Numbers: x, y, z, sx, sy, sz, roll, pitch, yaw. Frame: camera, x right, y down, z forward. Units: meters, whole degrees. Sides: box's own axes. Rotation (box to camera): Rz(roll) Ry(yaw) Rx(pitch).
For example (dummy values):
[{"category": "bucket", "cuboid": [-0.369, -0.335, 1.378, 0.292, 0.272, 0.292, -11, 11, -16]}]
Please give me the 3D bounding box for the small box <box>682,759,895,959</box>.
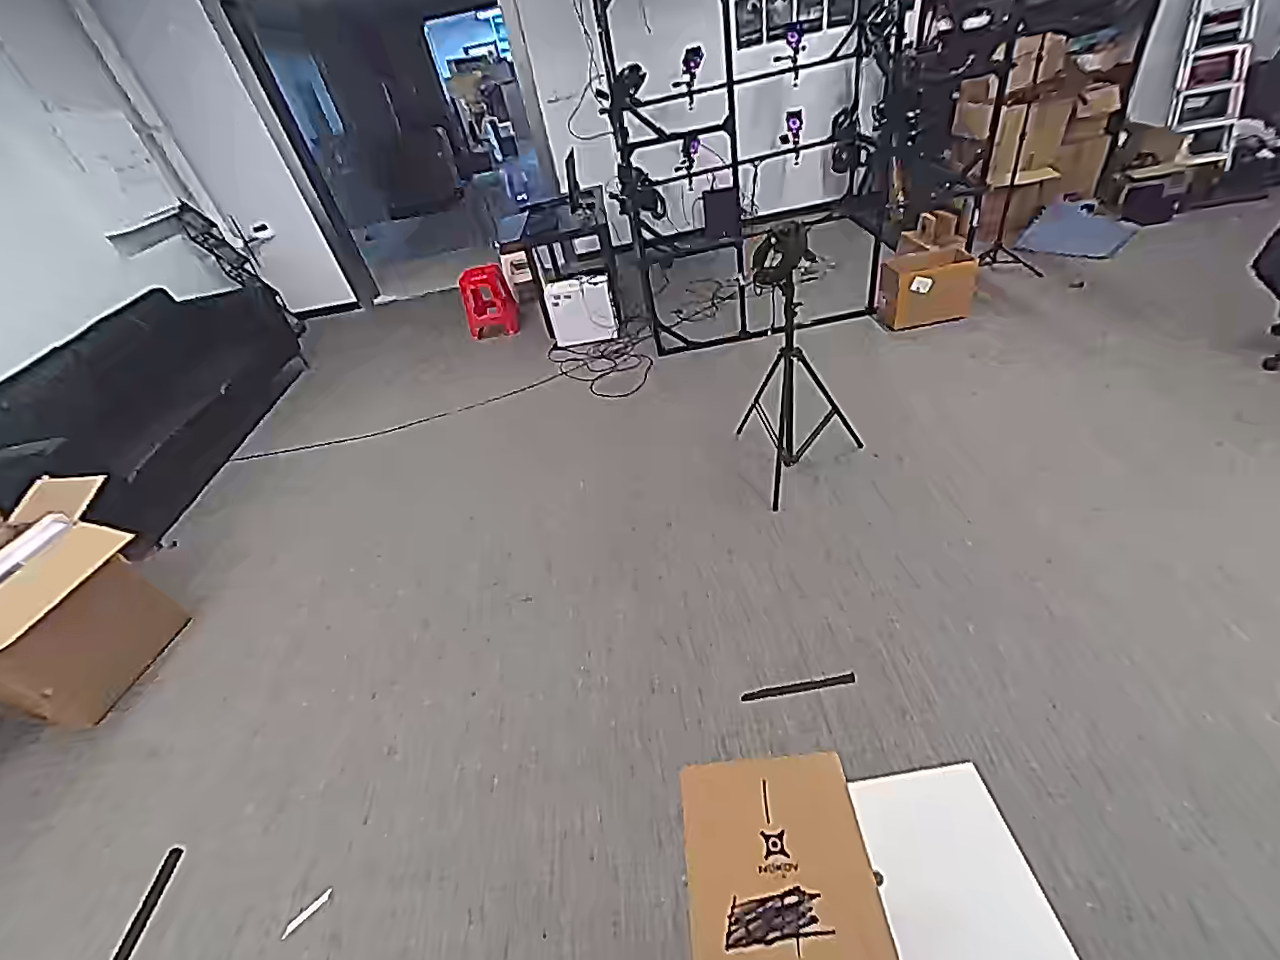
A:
[{"category": "small box", "cuboid": [0.139, 0.411, 0.542, 0.168, 0.176, 0.179, -9, 38, 6]}]
